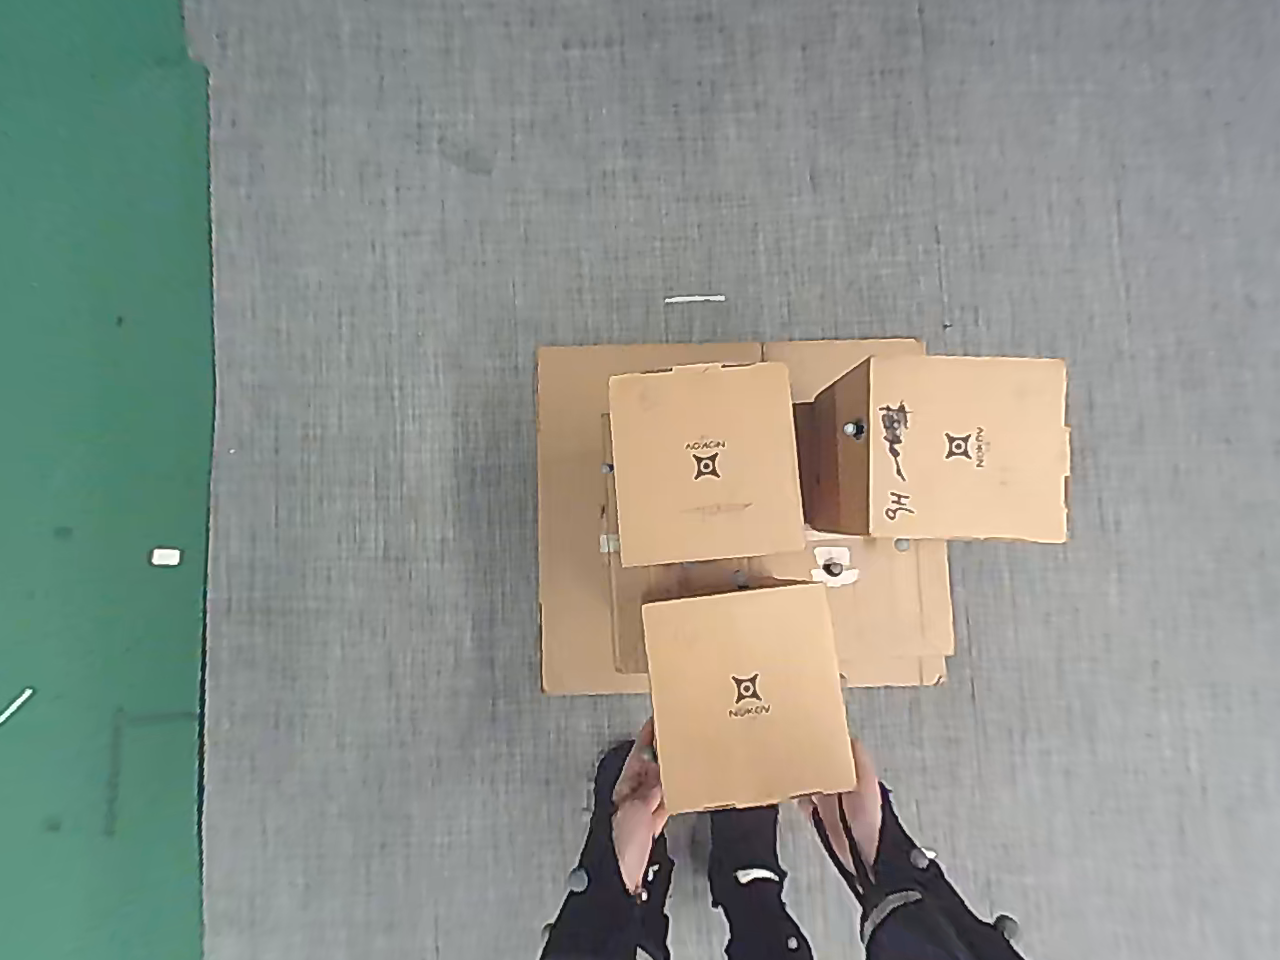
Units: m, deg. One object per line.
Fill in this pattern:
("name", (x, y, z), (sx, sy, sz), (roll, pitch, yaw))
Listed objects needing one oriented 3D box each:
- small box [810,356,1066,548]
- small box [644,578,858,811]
("small box", (0.291, -0.021, 0.561), (0.179, 0.176, 0.168), (2, 86, 1))
("small box", (0.094, 0.192, 0.539), (0.168, 0.176, 0.179), (-5, 84, -2))
